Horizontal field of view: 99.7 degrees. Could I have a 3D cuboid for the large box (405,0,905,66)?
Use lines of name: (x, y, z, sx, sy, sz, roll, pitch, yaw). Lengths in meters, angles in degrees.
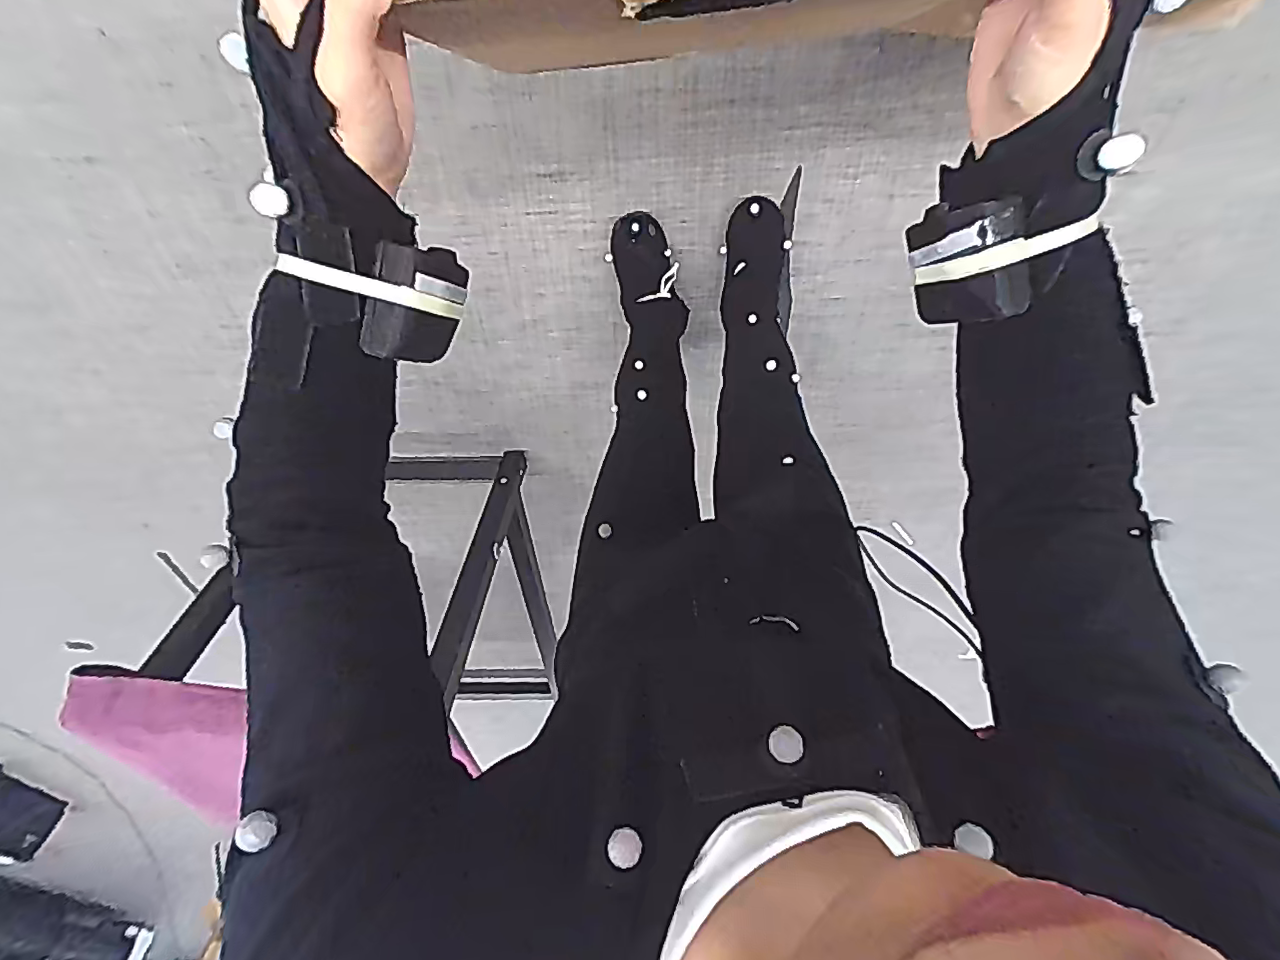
large box: (0.025, -0.453, 0.223, 0.320, 0.320, 0.408, -5, 123, 5)
